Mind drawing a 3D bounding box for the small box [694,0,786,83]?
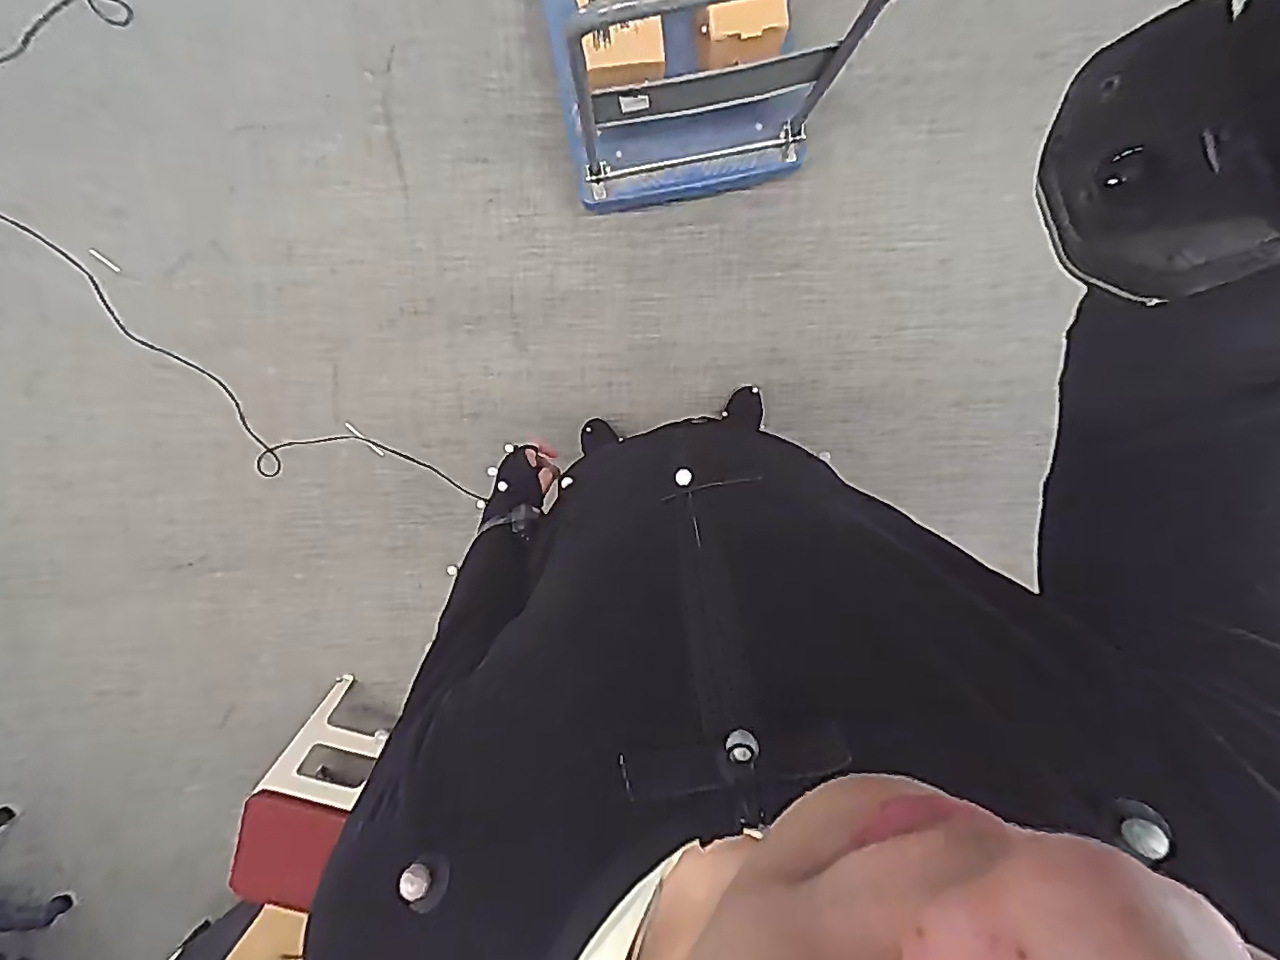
[{"bbox_3d":[0.222,-1.055,1.230,0.168,0.176,0.179,-9,99,2],"label":"small box"}]
